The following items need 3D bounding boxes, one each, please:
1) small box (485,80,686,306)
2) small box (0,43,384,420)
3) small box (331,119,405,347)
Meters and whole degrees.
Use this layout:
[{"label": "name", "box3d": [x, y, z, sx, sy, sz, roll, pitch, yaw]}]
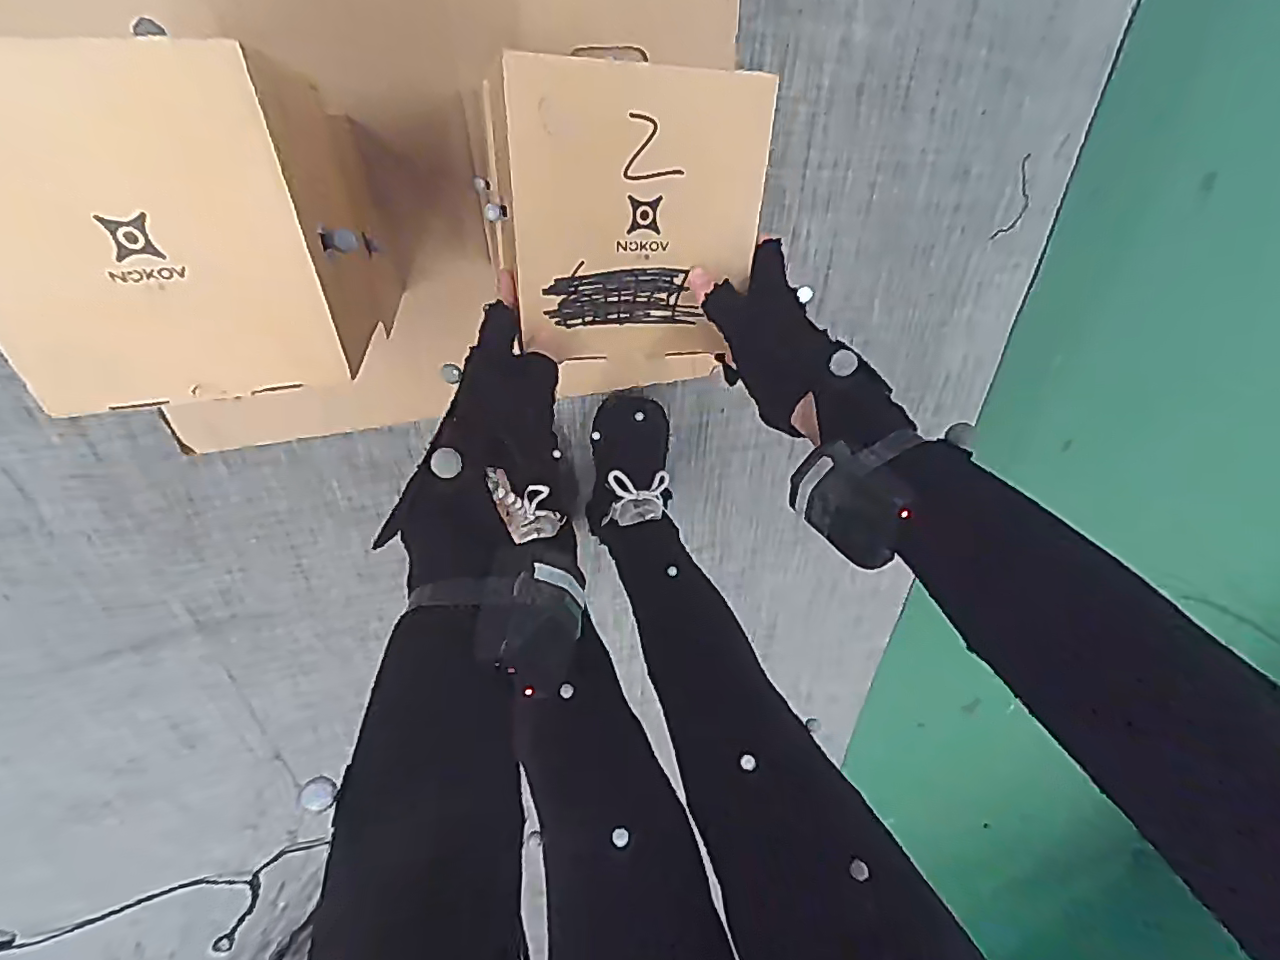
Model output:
[{"label": "small box", "box3d": [-0.064, -0.288, 0.550, 0.168, 0.176, 0.179, -6, 124, -14]}, {"label": "small box", "box3d": [-0.282, -0.162, 0.352, 0.168, 0.176, 0.179, -11, 125, -13]}, {"label": "small box", "box3d": [-0.330, -0.223, 0.499, 0.168, 0.176, 0.179, -13, 125, -11]}]
